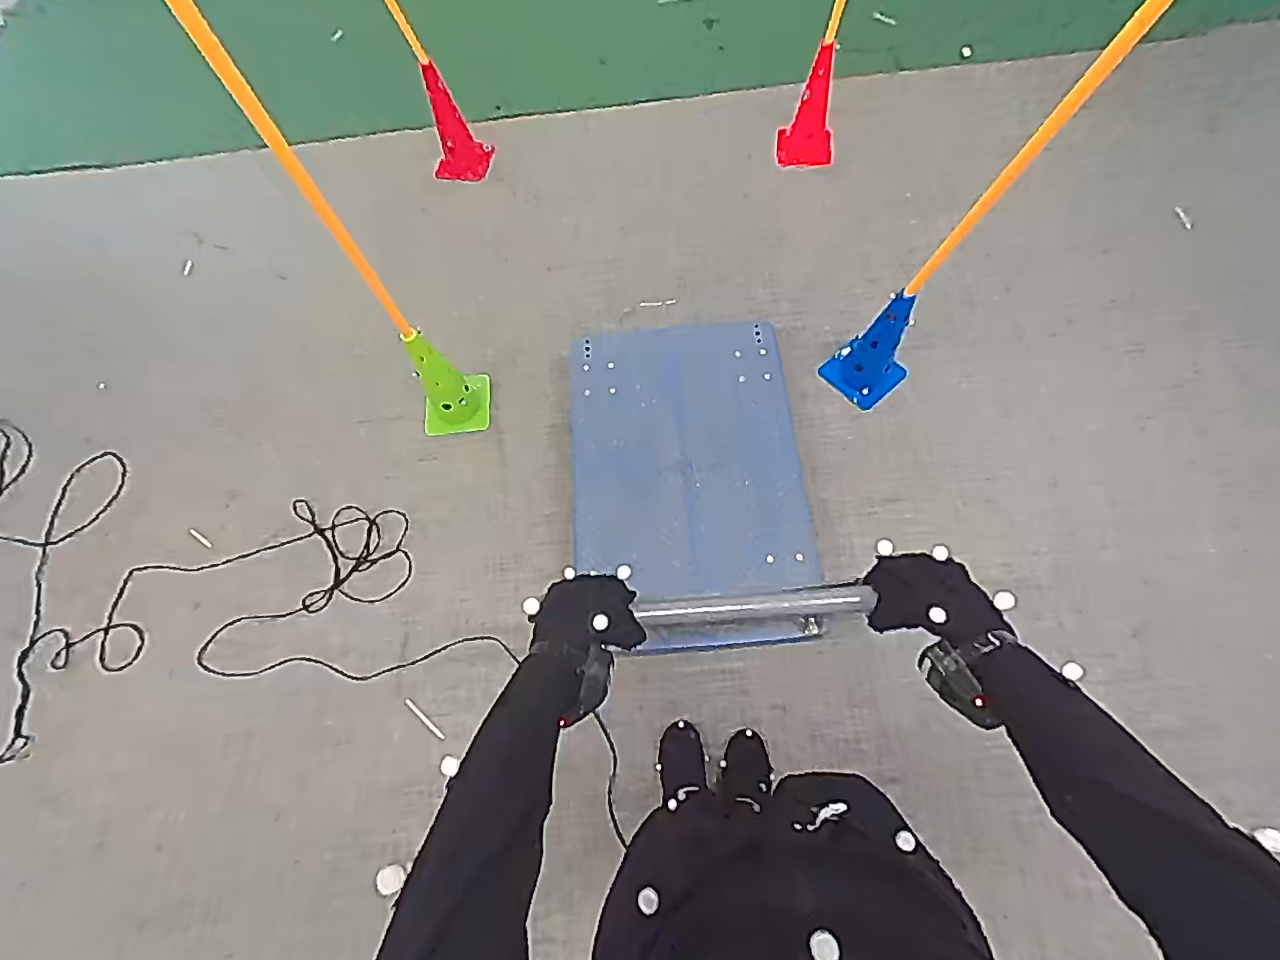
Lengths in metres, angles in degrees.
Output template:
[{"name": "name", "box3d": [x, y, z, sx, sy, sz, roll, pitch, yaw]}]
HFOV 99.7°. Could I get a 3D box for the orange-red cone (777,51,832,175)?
[{"name": "orange-red cone", "box3d": [0.604, -1.279, 1.871, 0.198, 0.360, 0.199, 5, 69, 7]}]
